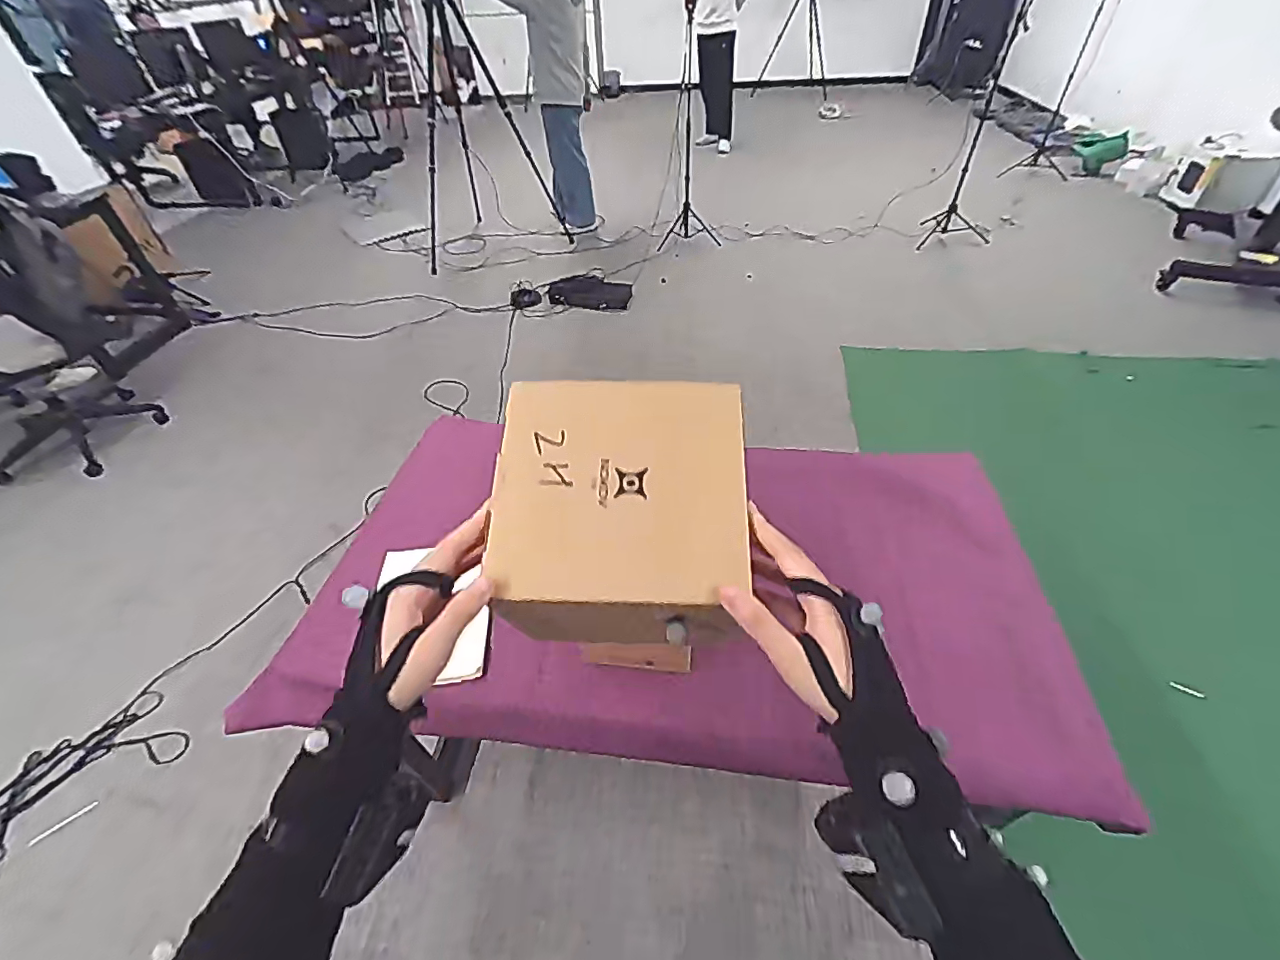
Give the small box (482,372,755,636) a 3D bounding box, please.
[{"bbox_3d":[-0.009,0.030,0.446,0.179,0.176,0.168,1,64,2],"label":"small box"}]
